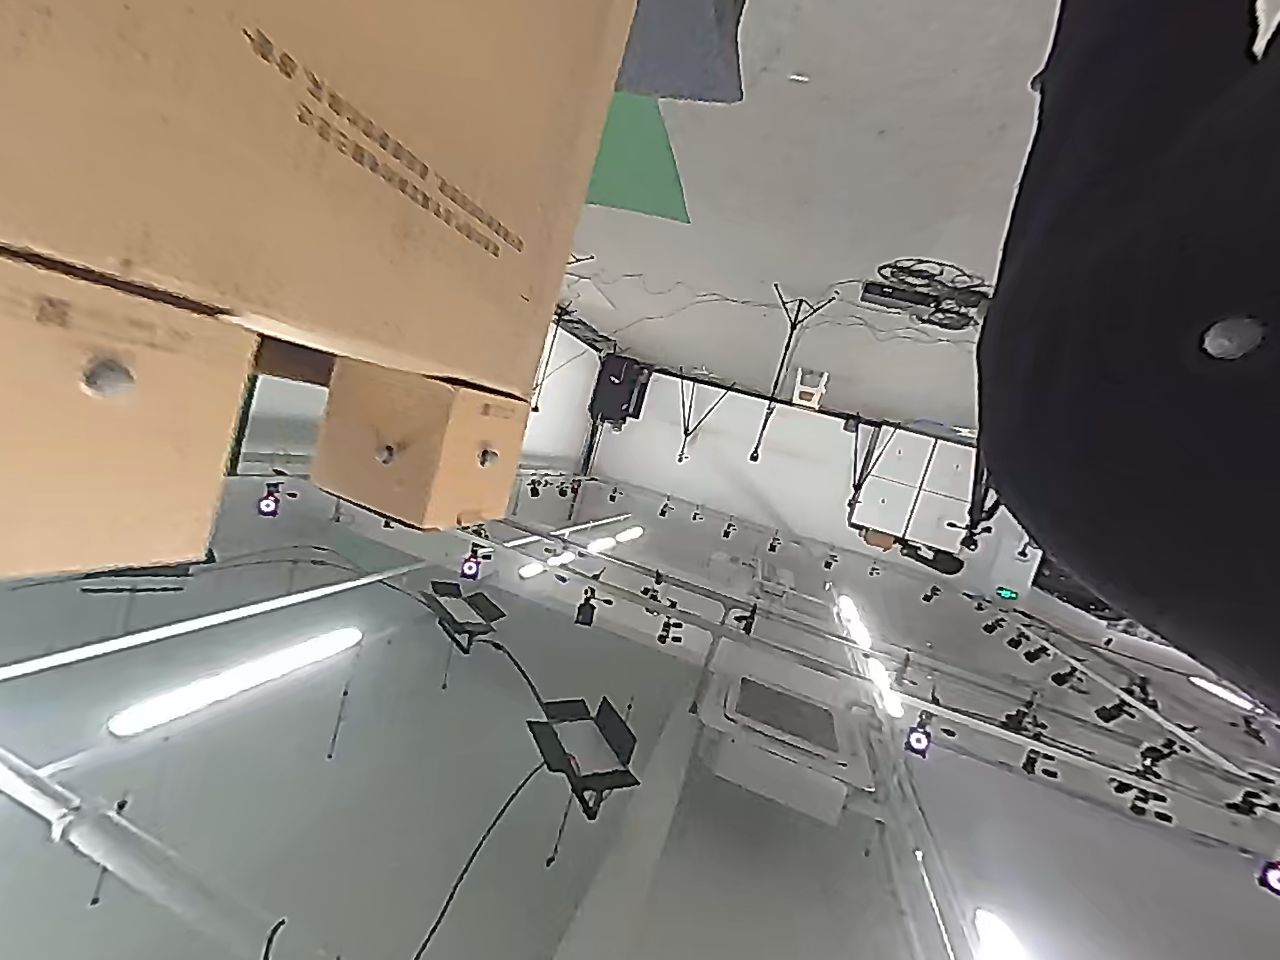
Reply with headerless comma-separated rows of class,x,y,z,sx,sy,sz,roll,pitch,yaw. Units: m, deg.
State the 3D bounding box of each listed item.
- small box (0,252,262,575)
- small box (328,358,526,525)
small box,-0.388,-0.050,0.349,0.179,0.176,0.168,17,-175,18
small box,-0.267,-0.054,0.709,0.179,0.176,0.168,17,-174,18
